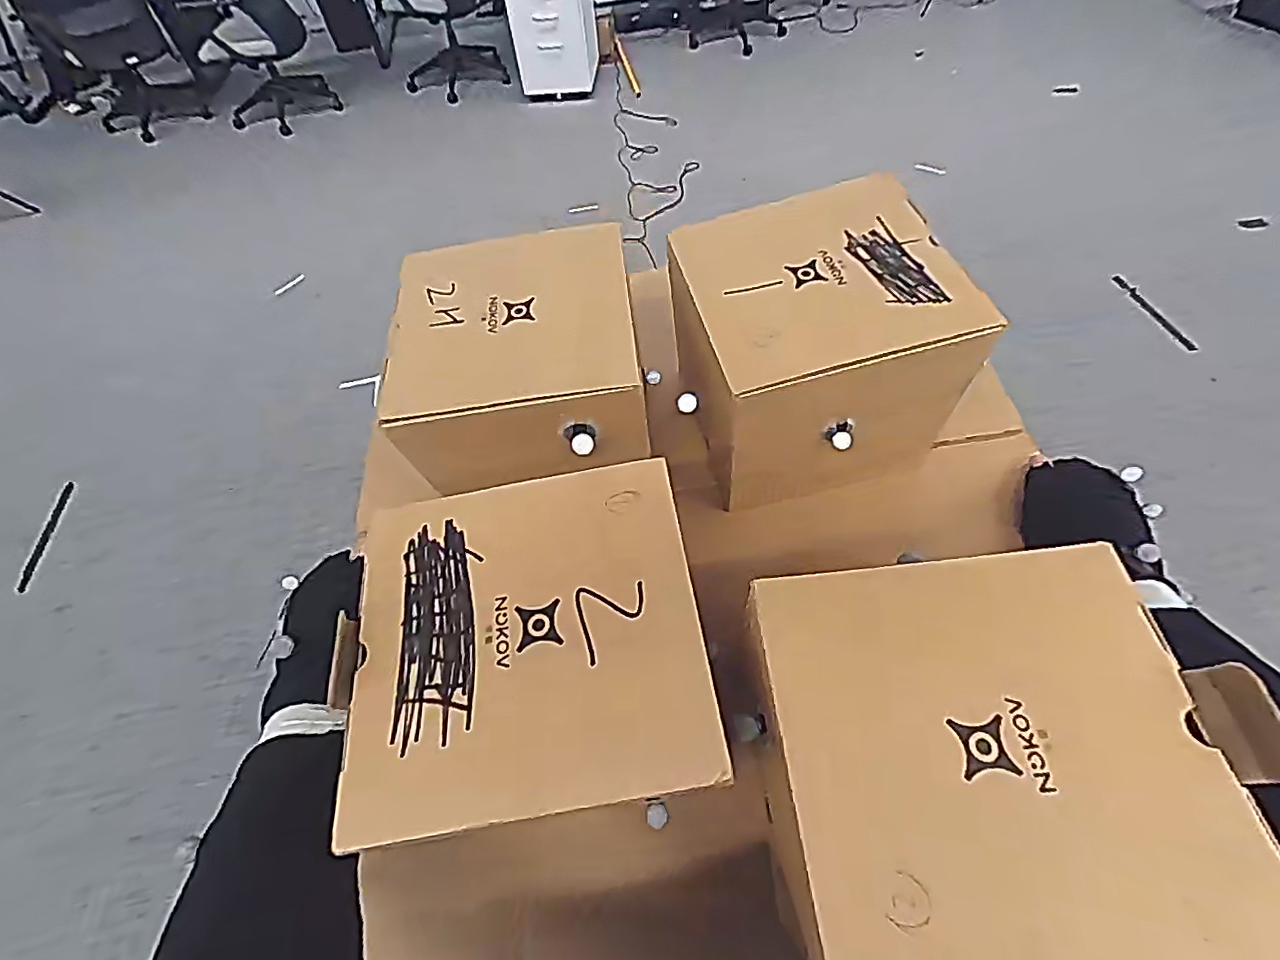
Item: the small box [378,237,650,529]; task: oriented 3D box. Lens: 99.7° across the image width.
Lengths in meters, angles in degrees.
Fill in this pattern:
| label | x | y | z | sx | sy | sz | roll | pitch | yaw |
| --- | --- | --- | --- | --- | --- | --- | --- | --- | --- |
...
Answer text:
| label | x | y | z | sx | sy | sz | roll | pitch | yaw |
| --- | --- | --- | --- | --- | --- | --- | --- | --- | --- |
| small box | -0.087 | -0.072 | 0.463 | 0.179 | 0.176 | 0.168 | -8 | 59 | 4 |
